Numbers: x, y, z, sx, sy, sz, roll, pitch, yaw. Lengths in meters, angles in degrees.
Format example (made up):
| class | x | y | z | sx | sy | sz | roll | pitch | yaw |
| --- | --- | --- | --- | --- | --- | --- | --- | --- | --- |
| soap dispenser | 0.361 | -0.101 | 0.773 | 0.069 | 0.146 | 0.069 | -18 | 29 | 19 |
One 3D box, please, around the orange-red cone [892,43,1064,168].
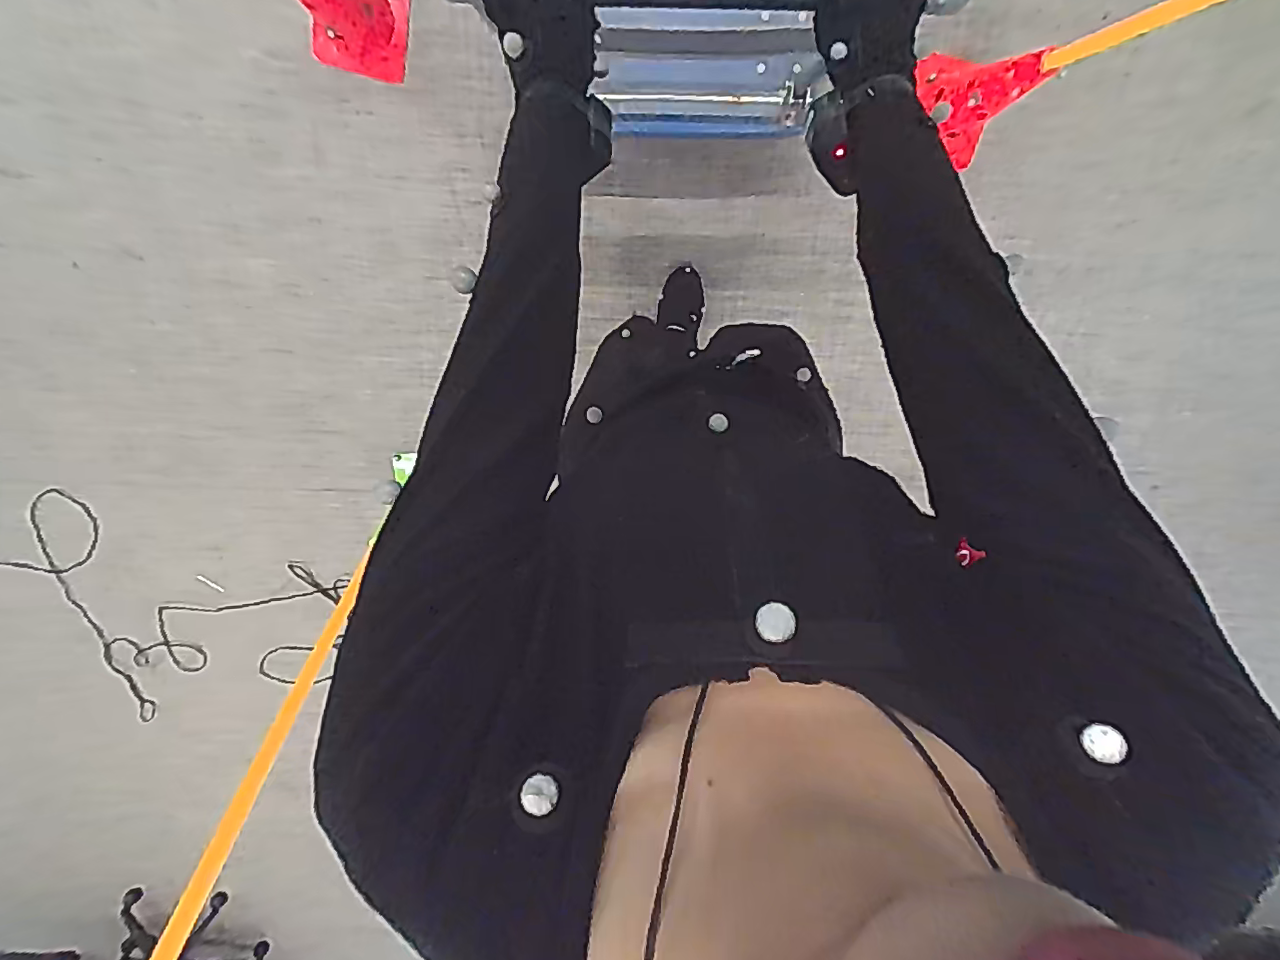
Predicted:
| class | x | y | z | sx | sy | sz | roll | pitch | yaw |
| --- | --- | --- | --- | --- | --- | --- | --- | --- | --- |
| orange-red cone | 0.680 | -0.757 | 1.046 | 0.198 | 0.360 | 0.199 | 12 | 112 | -4 |
